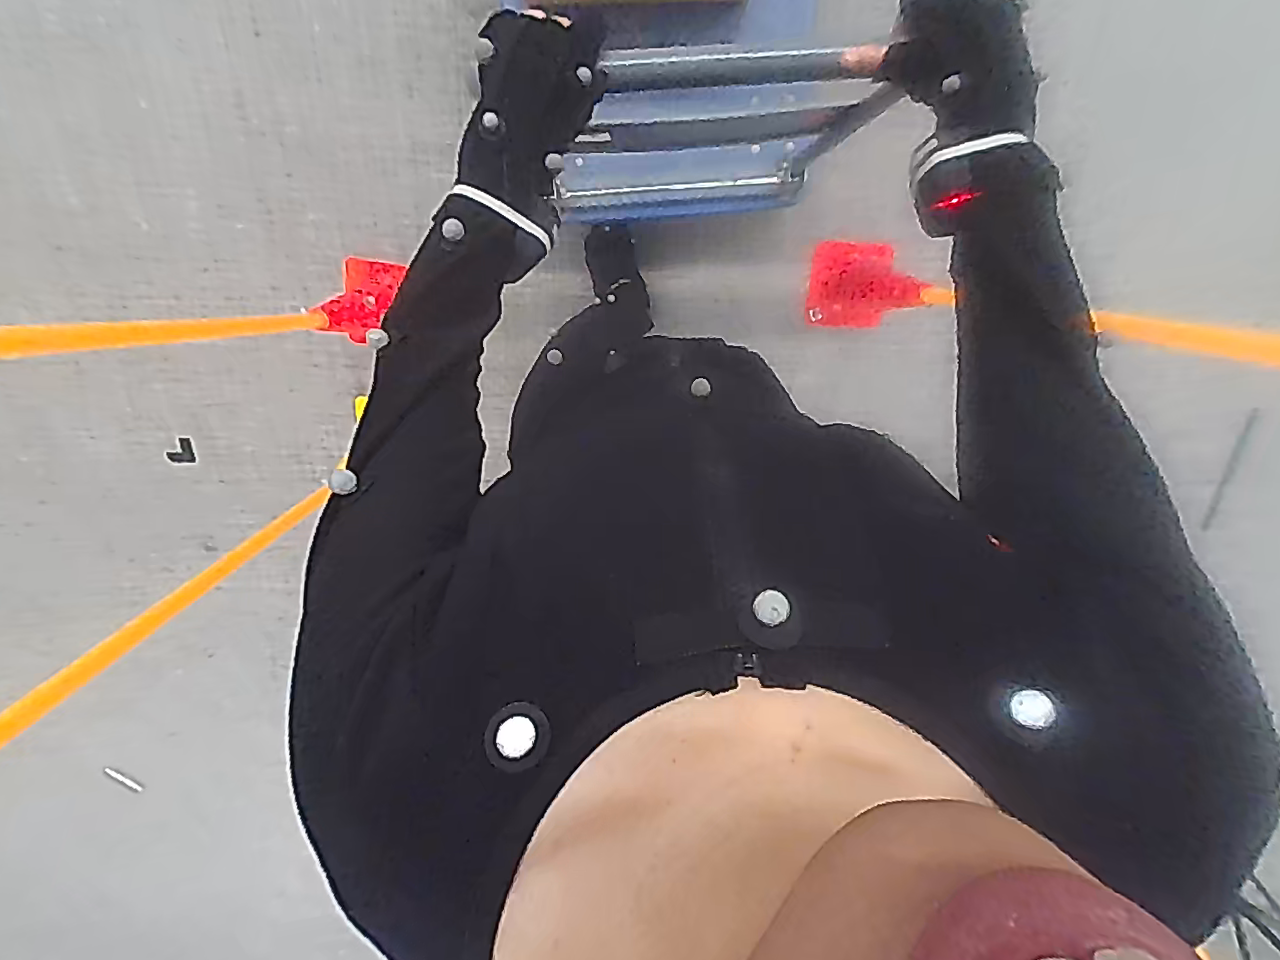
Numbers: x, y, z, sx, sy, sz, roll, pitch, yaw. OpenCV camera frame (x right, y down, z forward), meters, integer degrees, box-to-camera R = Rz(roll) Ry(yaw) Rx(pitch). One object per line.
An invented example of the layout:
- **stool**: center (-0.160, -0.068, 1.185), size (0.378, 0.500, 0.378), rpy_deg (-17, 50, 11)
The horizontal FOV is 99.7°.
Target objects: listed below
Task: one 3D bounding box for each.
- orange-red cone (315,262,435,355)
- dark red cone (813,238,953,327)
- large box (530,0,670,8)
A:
- **orange-red cone**: center (-0.593, -0.355, 1.160), size (0.198, 0.360, 0.199), rpy_deg (7, 109, -7)
- **dark red cone**: center (0.539, -0.419, 1.170), size (0.201, 0.394, 0.202), rpy_deg (0, 112, -5)
- **large box**: center (-0.003, -0.956, 0.797), size (0.408, 0.320, 0.320), rpy_deg (-3, 112, -1)
